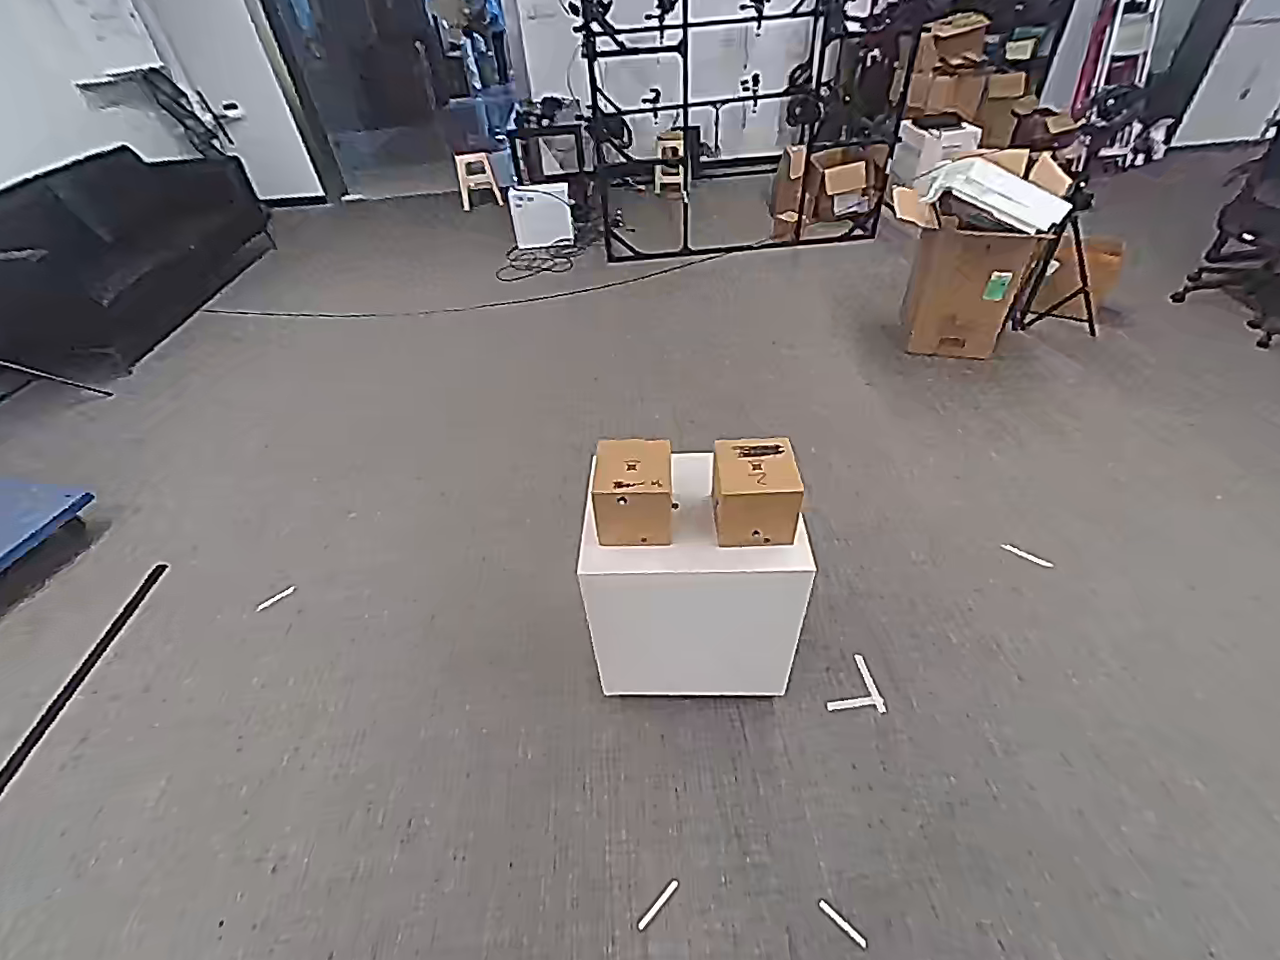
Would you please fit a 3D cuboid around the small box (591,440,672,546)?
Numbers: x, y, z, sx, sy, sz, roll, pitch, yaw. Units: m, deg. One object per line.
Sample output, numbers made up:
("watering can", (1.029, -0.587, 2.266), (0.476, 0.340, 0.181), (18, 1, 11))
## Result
("small box", (-0.013, 0.026, 1.212), (0.168, 0.176, 0.179), (-1, 42, 4))
